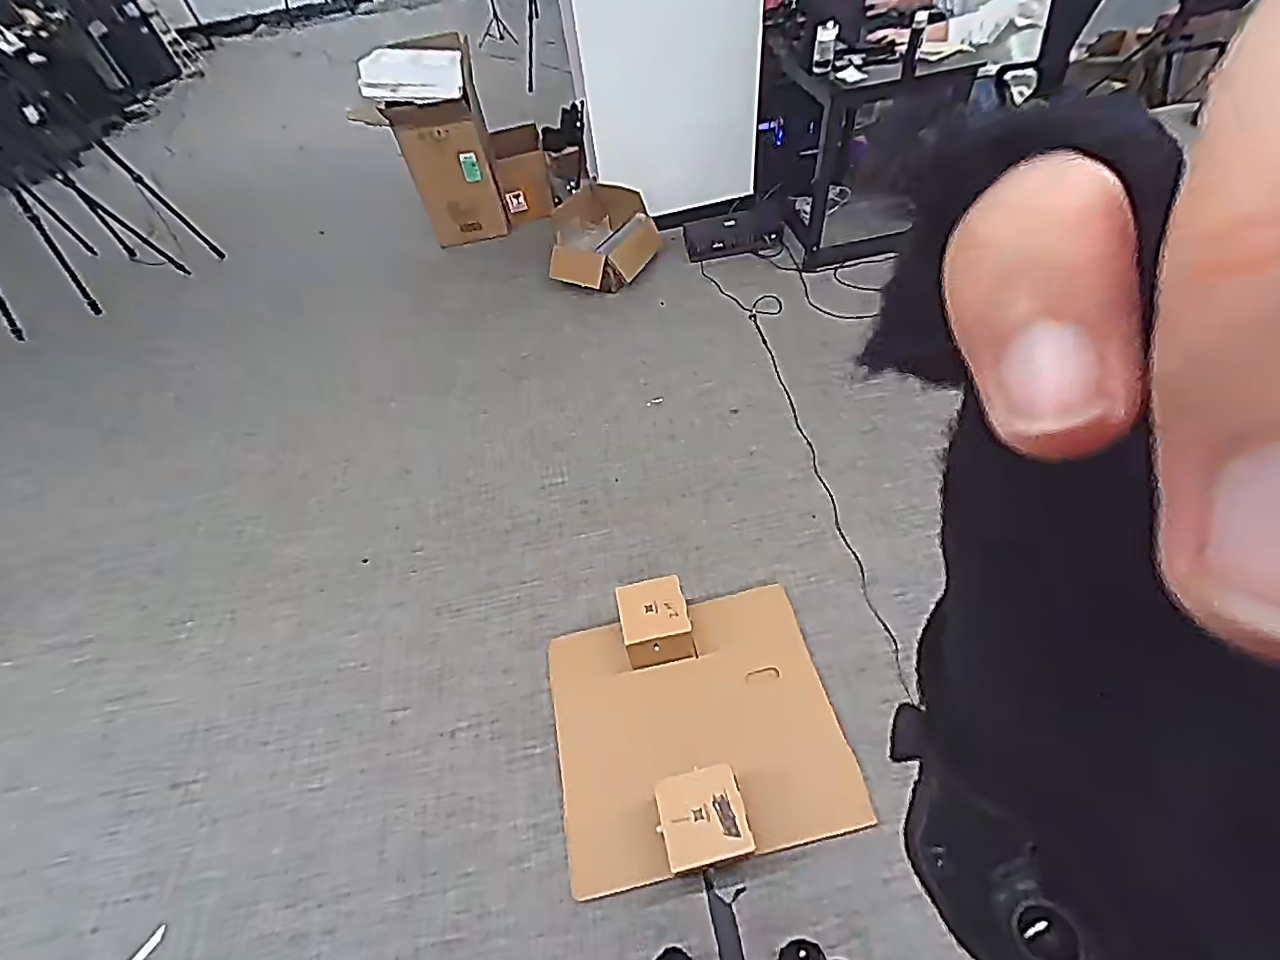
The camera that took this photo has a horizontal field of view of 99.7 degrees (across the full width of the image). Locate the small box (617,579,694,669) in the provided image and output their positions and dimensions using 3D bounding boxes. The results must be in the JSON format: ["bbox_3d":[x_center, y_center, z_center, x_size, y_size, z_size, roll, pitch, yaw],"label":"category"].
[{"bbox_3d":[0.043,0.394,1.460,0.179,0.176,0.168,-11,51,-2],"label":"small box"}]

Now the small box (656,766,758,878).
[{"bbox_3d":[0.139,0.742,1.170,0.179,0.176,0.168,-14,52,-3],"label":"small box"}]
